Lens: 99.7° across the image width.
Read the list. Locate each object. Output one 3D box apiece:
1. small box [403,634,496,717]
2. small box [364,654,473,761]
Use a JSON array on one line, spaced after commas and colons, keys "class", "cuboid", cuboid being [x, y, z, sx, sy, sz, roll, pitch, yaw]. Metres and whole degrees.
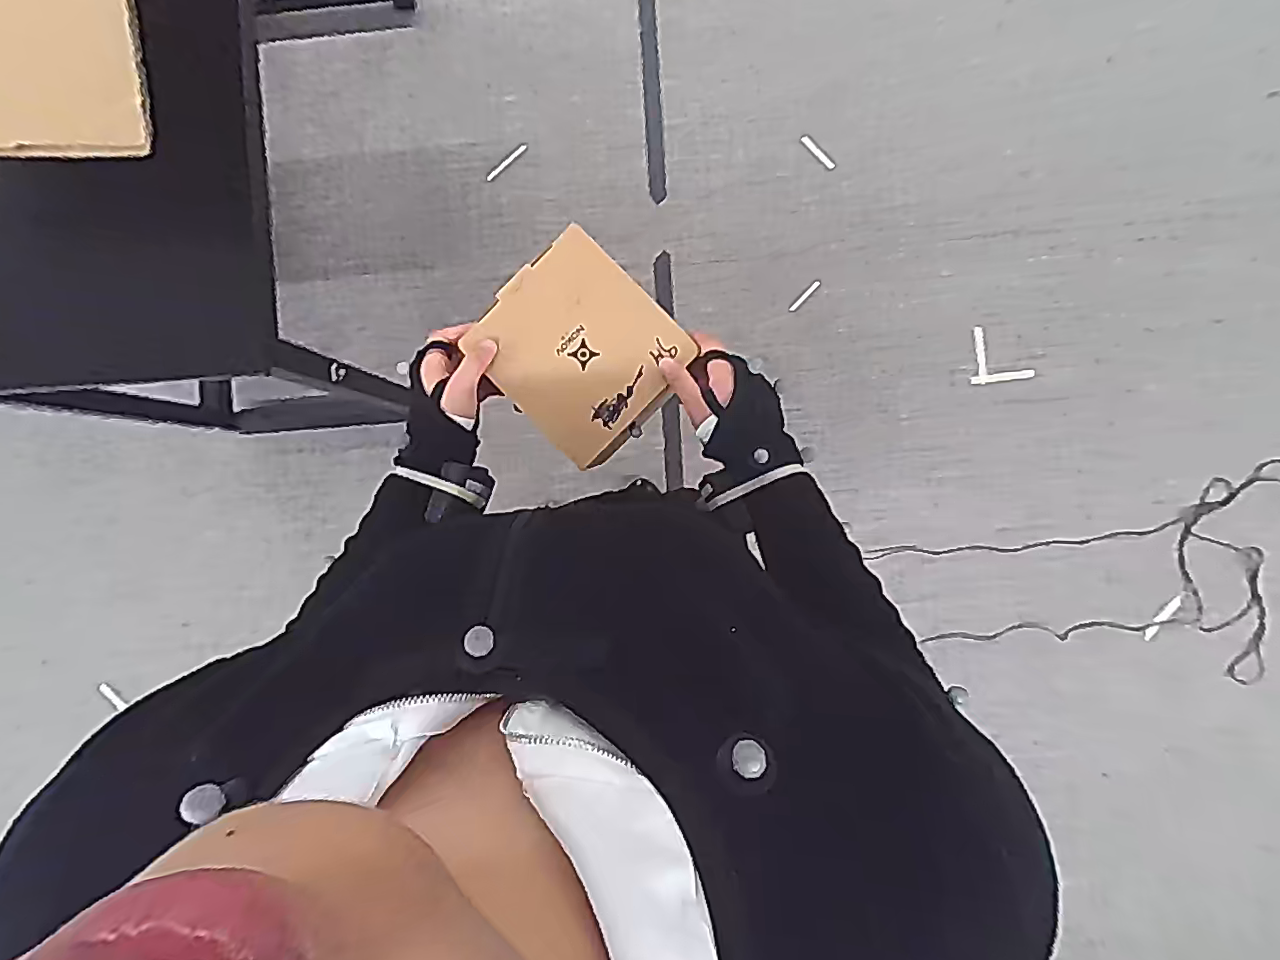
[{"class": "small box", "cuboid": [-0.495, 0.517, 1.423, 0.179, 0.176, 0.168, -8, 90, 0]}, {"class": "small box", "cuboid": [-0.504, 0.521, 1.261, 0.179, 0.176, 0.168, -12, 89, 2]}]
